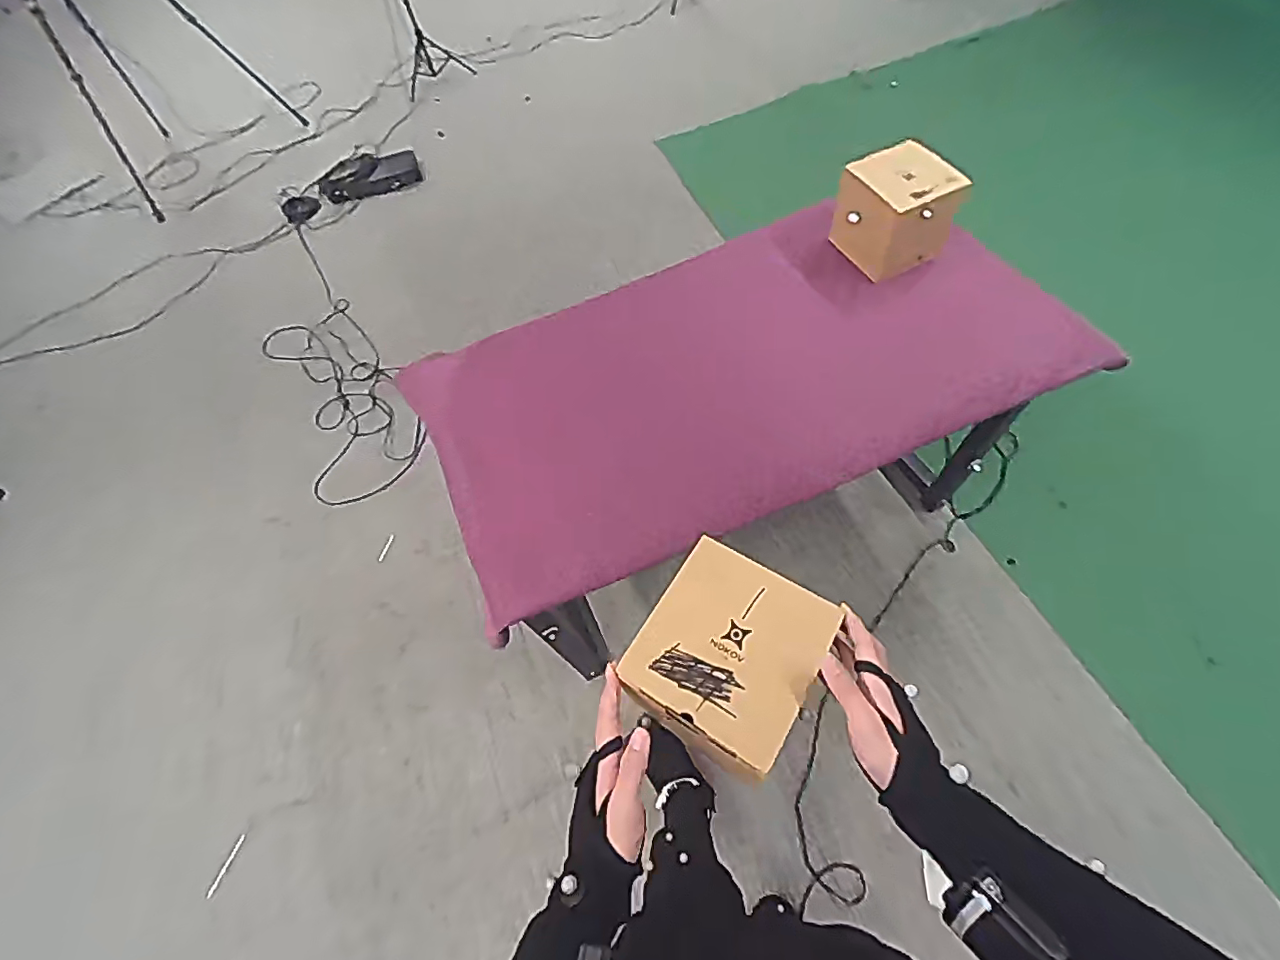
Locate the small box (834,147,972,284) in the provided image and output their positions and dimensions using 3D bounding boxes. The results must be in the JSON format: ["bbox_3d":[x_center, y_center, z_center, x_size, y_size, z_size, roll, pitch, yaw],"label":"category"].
[{"bbox_3d":[0.530,-0.544,1.122,0.168,0.176,0.179,-25,60,-6],"label":"small box"}]

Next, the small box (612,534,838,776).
[{"bbox_3d":[0.094,0.198,0.597,0.168,0.176,0.179,27,64,22],"label":"small box"}]
